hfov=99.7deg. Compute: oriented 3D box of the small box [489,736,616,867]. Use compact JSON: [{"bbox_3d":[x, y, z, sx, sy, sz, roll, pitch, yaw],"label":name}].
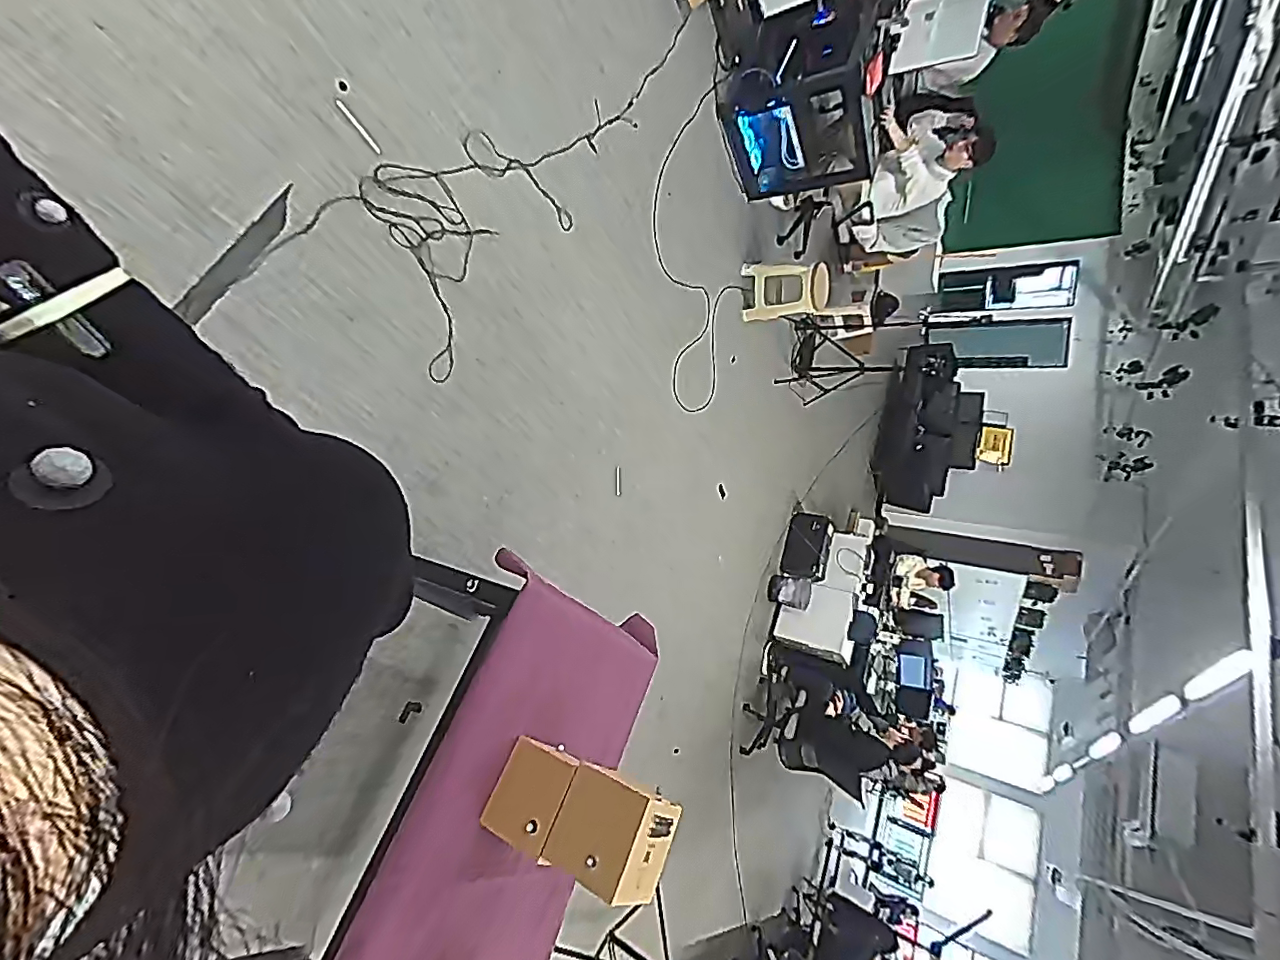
[{"bbox_3d":[-0.186,0.671,1.133,0.168,0.176,0.179,54,53,-47],"label":"small box"}]
